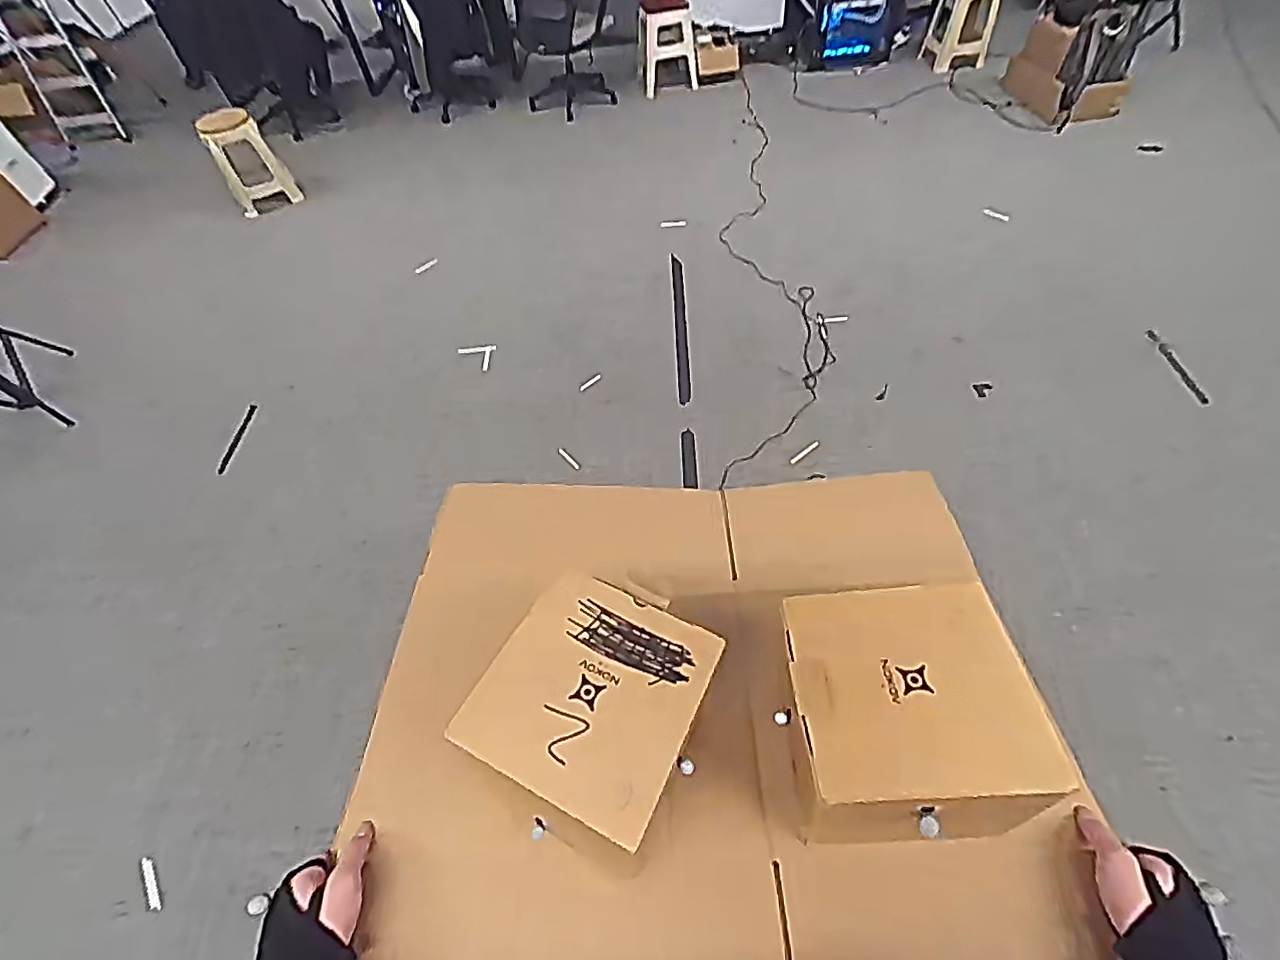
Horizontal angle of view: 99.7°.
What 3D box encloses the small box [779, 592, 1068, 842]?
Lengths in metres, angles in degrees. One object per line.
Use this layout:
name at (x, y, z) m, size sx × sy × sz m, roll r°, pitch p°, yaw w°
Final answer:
small box at (0.231, 0.224, 0.501) m, size 0.179 × 0.176 × 0.168 m, roll -7°, pitch 47°, yaw 7°
